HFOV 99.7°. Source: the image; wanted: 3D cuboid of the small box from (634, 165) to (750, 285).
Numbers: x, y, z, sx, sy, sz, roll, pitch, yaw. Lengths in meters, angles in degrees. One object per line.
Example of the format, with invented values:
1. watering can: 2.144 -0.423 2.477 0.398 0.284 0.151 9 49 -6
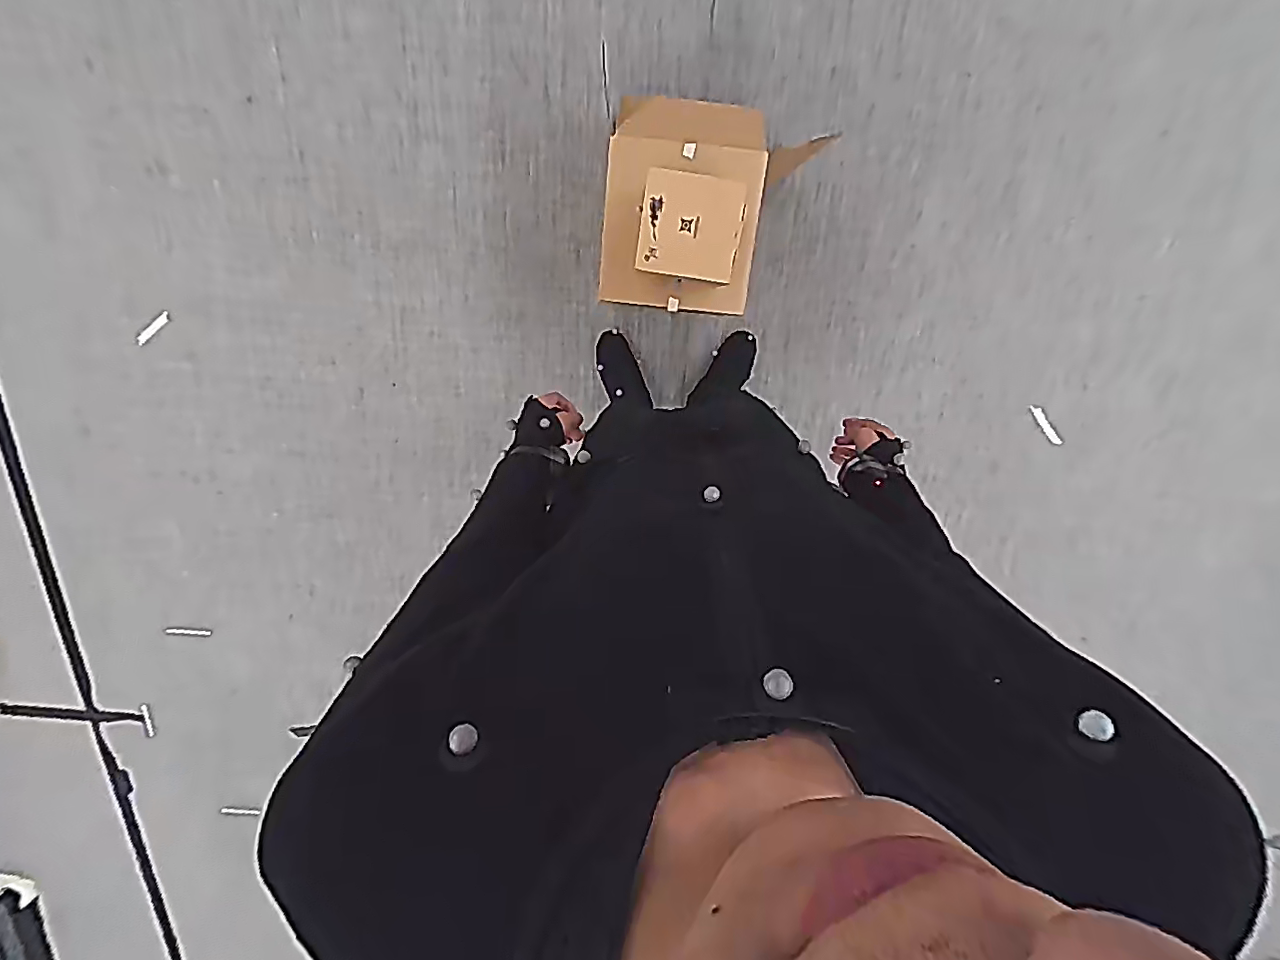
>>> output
1. small box: 0.088 -0.464 1.005 0.179 0.176 0.168 8 109 -3
